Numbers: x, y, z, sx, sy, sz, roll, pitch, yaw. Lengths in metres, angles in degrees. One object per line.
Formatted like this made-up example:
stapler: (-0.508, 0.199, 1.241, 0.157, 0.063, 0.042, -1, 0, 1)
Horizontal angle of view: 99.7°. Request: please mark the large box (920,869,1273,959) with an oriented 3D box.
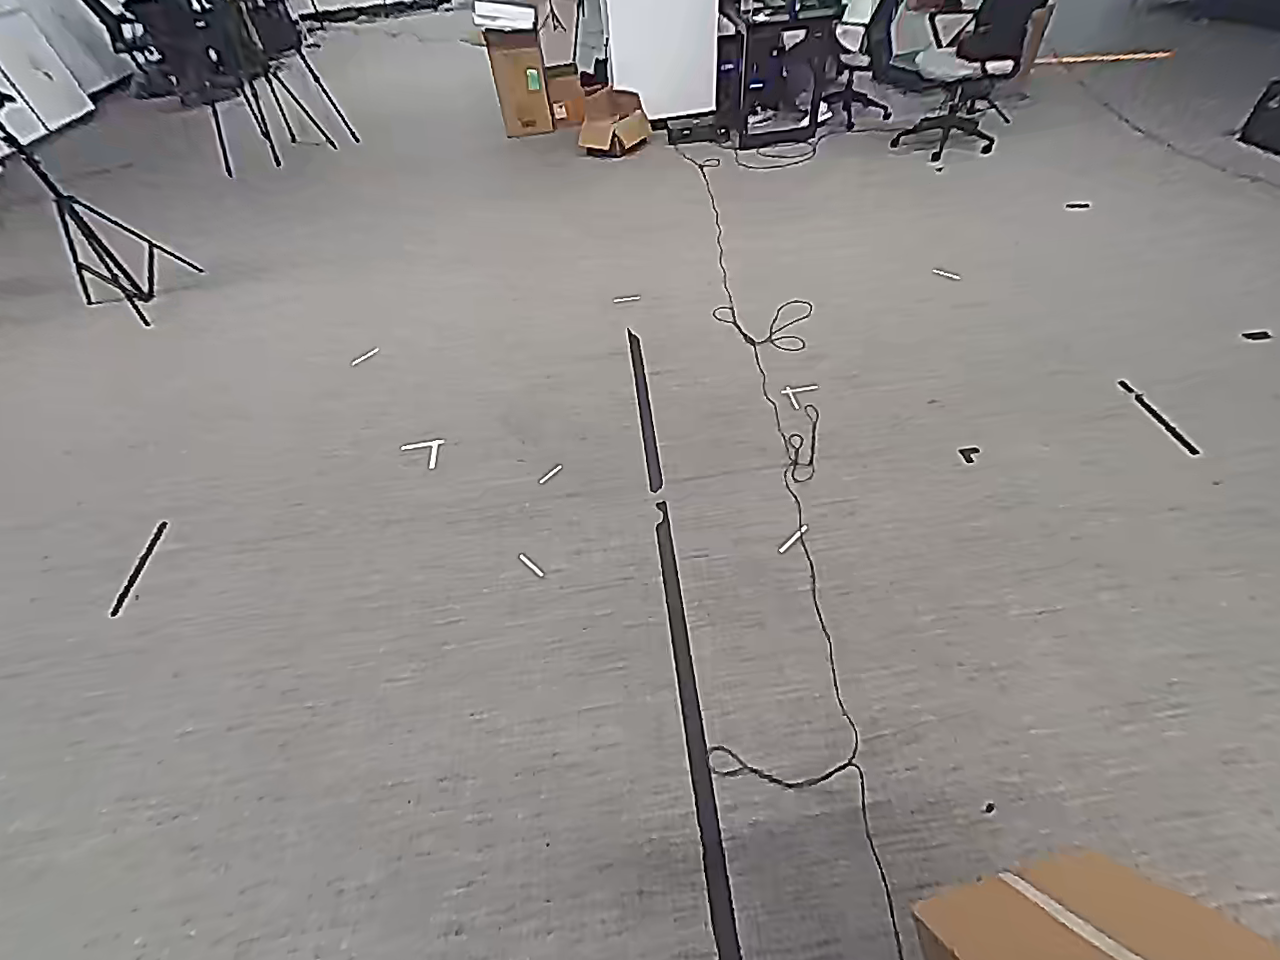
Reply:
large box: (0.592, 0.713, 0.576, 0.320, 0.408, 0.320, -11, 79, -7)
